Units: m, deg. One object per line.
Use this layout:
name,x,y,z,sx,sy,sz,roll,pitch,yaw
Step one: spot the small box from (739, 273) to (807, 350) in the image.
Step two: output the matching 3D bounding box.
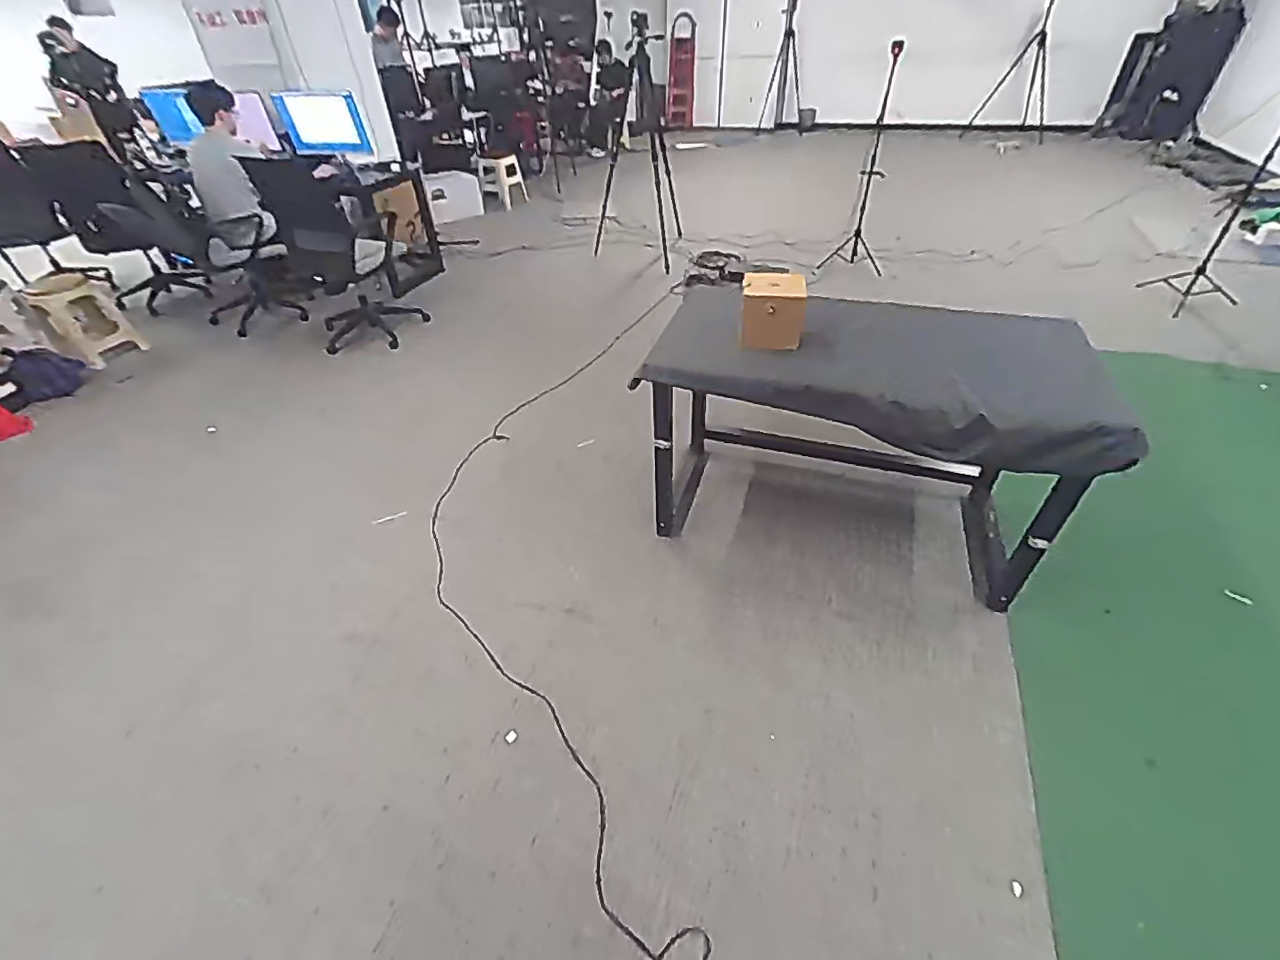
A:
small box,0.391,-0.499,1.606,0.179,0.176,0.168,6,43,8
